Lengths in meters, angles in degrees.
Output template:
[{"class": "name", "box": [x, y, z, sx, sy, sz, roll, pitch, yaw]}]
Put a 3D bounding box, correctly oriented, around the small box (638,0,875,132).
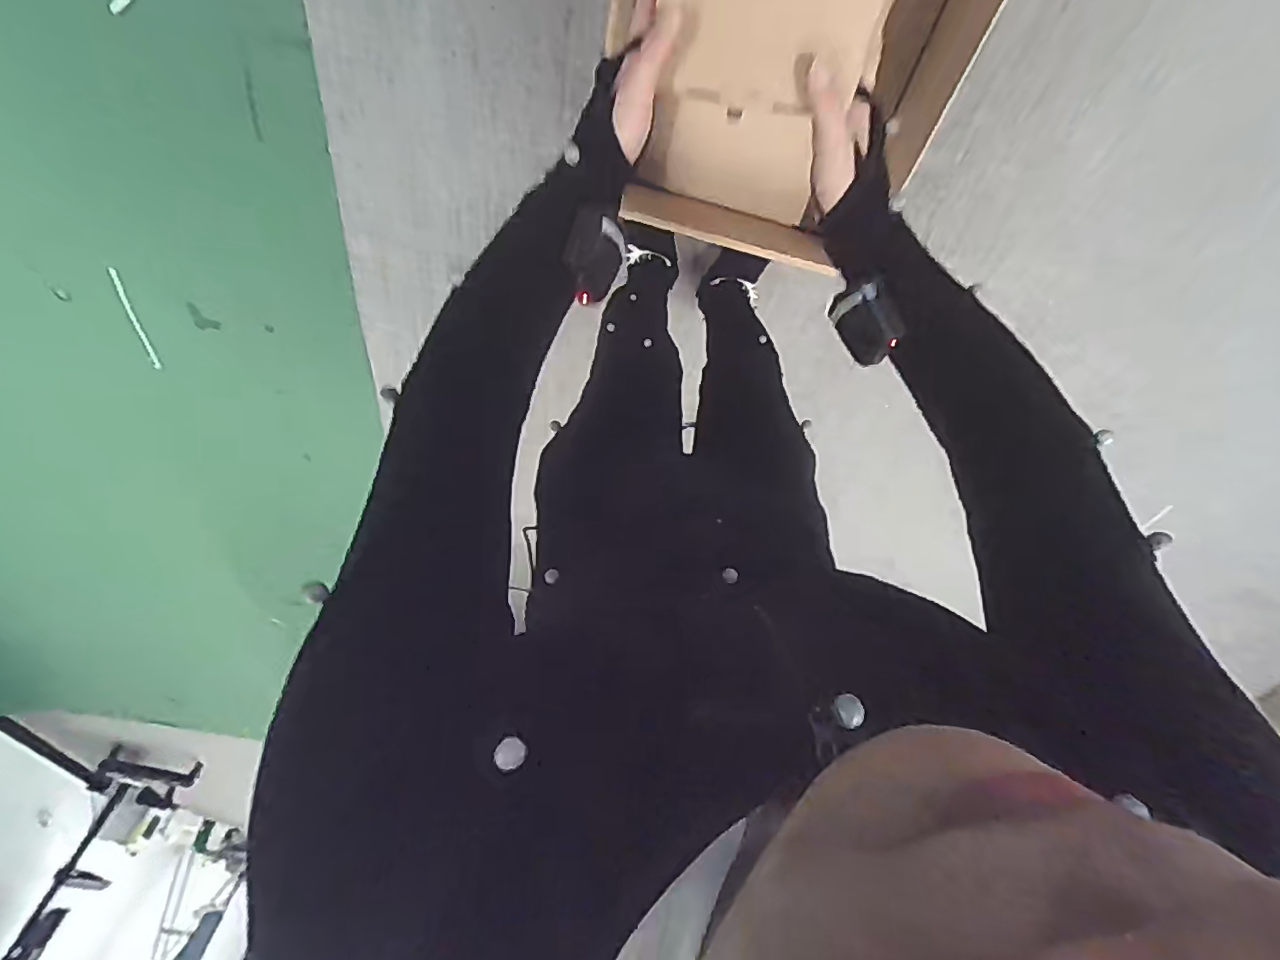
[{"class": "small box", "box": [0.096, -0.411, 0.444, 0.168, 0.176, 0.179, 8, 129, -1]}]
